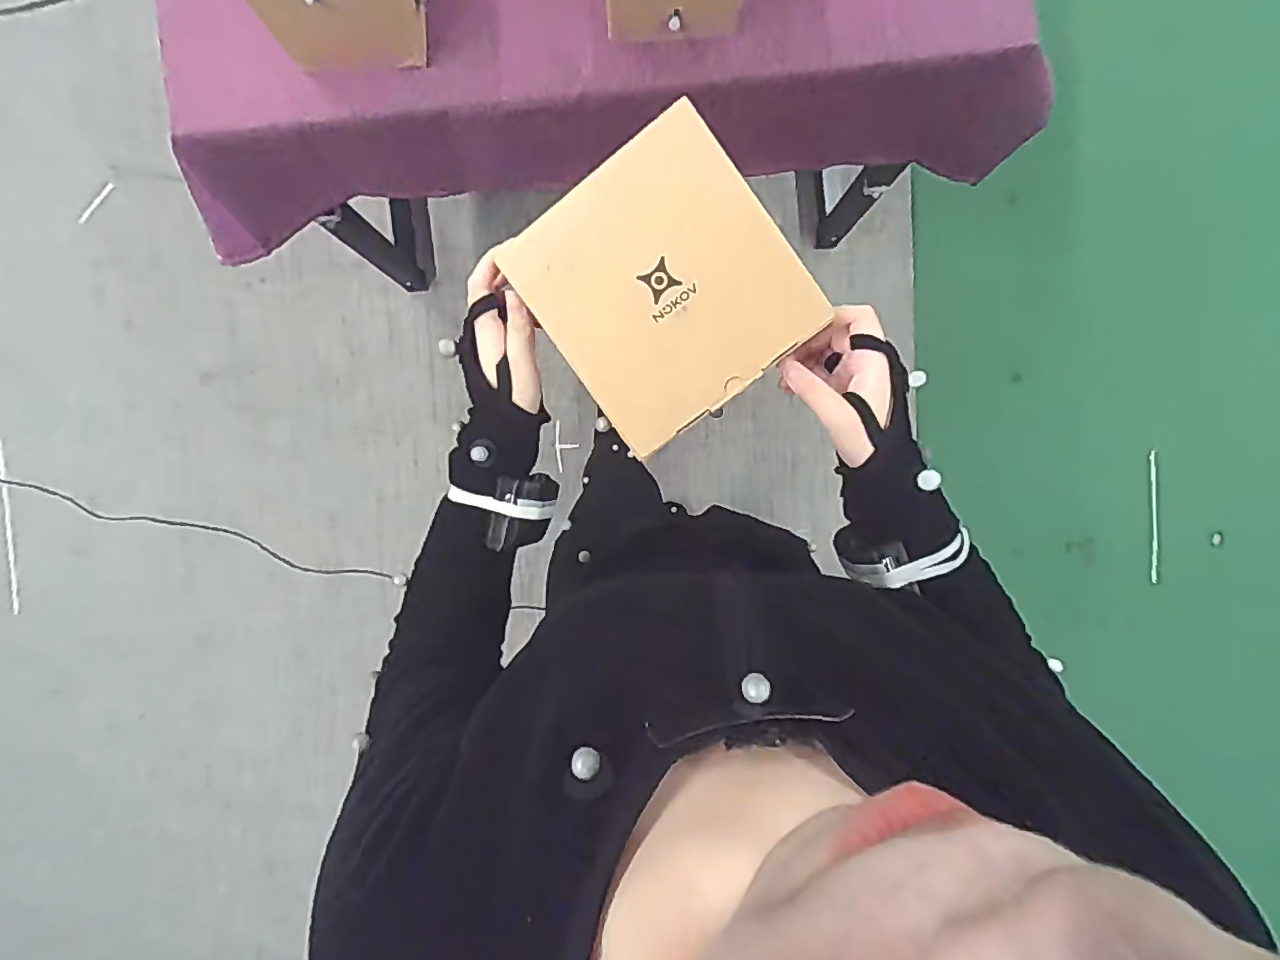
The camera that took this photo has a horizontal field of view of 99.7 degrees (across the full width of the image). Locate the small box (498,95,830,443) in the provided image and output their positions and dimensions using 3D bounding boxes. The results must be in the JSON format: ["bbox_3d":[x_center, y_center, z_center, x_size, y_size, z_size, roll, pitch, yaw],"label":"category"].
[{"bbox_3d":[0.018,-0.149,0.448,0.168,0.176,0.179,-37,95,7],"label":"small box"}]

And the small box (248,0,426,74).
[{"bbox_3d":[-0.385,-0.639,0.665,0.179,0.176,0.168,-3,92,-1],"label":"small box"}]
